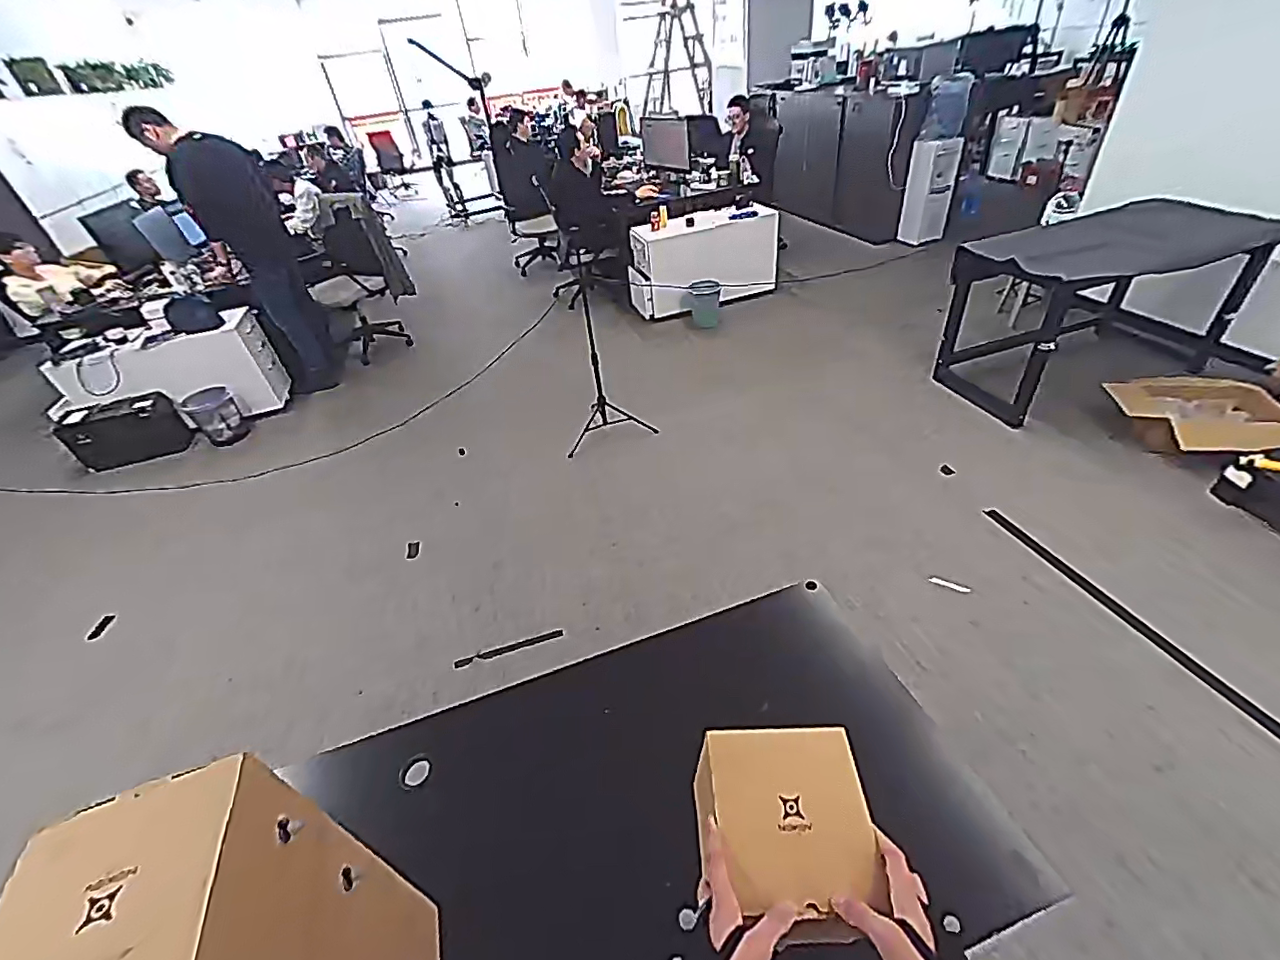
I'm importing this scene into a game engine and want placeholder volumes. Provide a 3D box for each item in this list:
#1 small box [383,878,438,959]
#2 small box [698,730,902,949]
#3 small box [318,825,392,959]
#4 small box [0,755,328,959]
[{"bbox_3d":[-0.347,0.627,0.644,0.168,0.176,0.179,-18,40,-12],"label":"small box"},{"bbox_3d":[0.161,0.408,0.616,0.168,0.176,0.179,0,44,-1],"label":"small box"},{"bbox_3d":[-0.365,0.498,0.543,0.168,0.176,0.179,-18,40,-11],"label":"small box"},{"bbox_3d":[-0.382,0.372,0.441,0.168,0.176,0.179,-18,40,-11],"label":"small box"}]
